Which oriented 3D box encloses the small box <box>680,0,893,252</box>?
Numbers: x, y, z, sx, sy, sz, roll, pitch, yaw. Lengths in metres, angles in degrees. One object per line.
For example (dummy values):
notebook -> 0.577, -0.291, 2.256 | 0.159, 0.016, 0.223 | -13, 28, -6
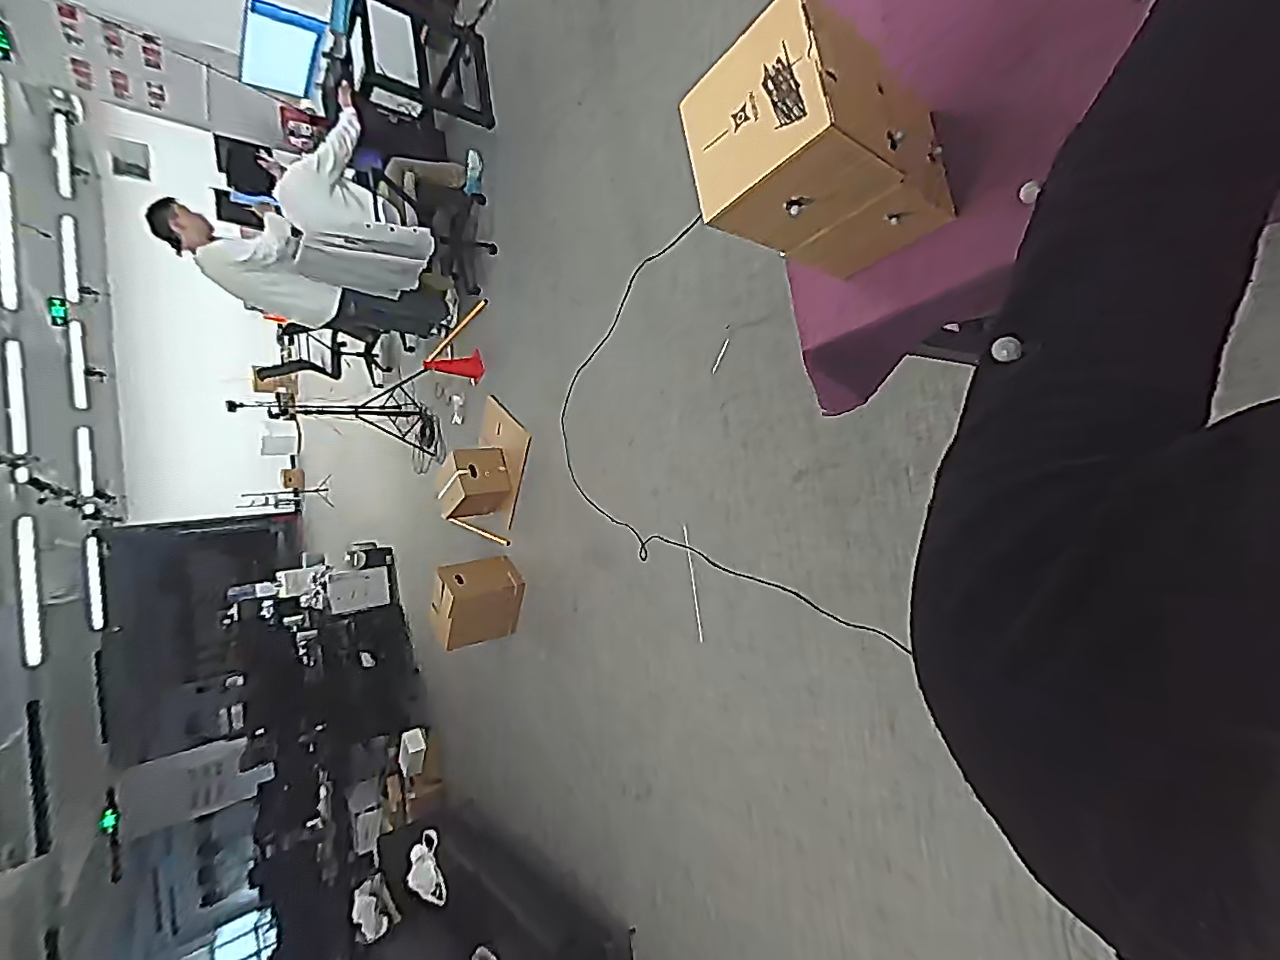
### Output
small box -> 0.179, -0.403, 0.648 | 0.179, 0.176, 0.168 | -19, 79, 49
